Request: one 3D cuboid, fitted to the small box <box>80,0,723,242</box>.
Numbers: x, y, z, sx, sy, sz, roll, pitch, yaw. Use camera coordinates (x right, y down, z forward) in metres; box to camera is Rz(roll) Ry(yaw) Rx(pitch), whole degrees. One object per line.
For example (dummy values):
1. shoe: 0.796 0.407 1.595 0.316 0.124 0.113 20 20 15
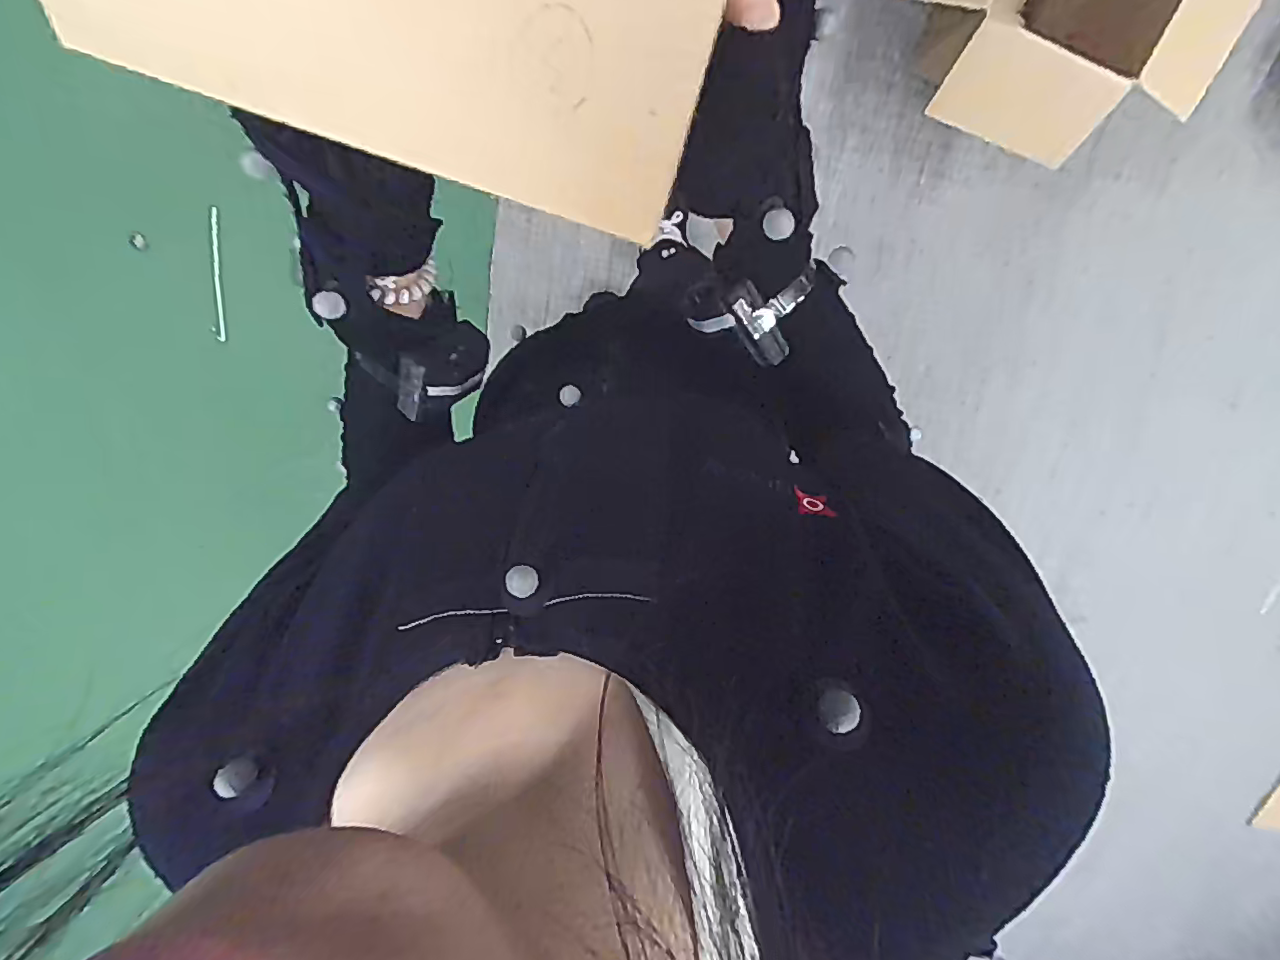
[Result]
1. small box: -0.042 -0.209 0.156 0.168 0.176 0.179 16 136 -6
